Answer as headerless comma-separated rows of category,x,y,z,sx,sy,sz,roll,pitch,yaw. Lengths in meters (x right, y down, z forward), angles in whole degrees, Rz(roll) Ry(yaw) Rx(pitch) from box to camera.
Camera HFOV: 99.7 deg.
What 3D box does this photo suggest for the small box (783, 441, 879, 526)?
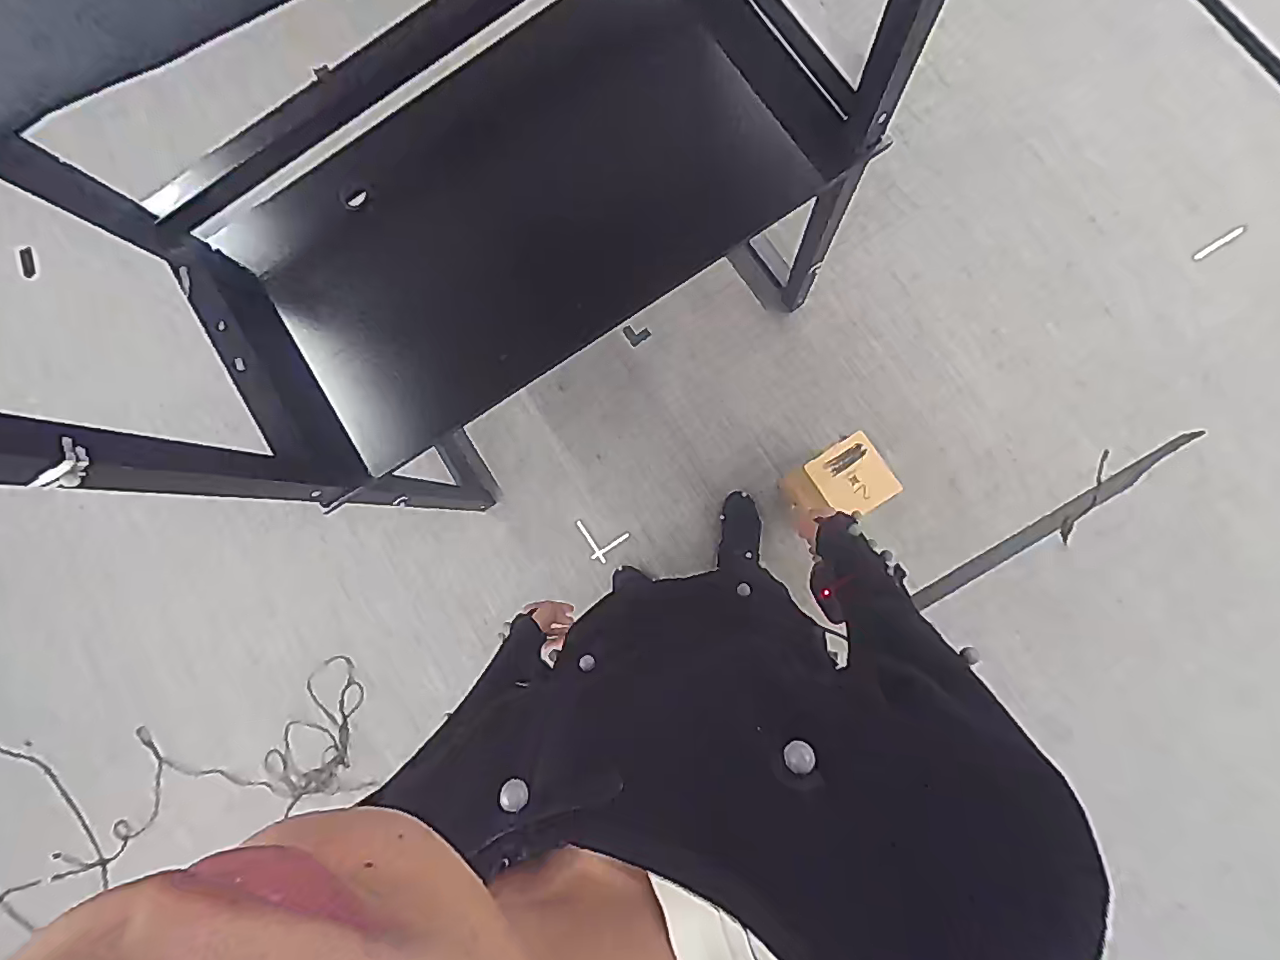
small box,0.526,0.014,1.517,0.179,0.176,0.168,-35,82,3
